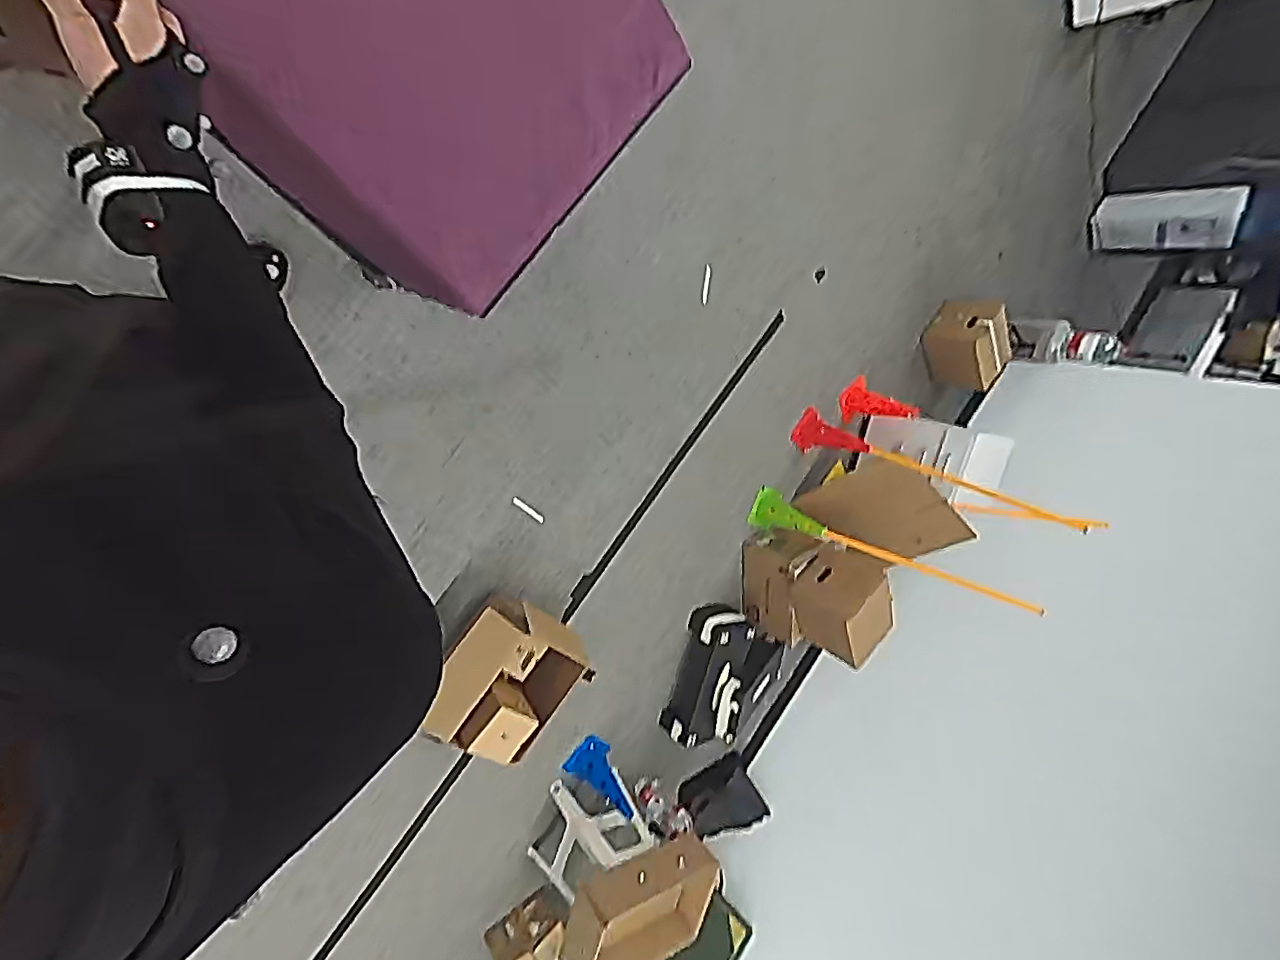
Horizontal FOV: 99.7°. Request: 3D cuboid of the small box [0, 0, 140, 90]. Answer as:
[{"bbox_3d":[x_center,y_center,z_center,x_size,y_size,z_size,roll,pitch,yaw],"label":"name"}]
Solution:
[{"bbox_3d":[-0.516,-0.445,0.416,0.168,0.176,0.179,-15,104,-39],"label":"small box"}]
